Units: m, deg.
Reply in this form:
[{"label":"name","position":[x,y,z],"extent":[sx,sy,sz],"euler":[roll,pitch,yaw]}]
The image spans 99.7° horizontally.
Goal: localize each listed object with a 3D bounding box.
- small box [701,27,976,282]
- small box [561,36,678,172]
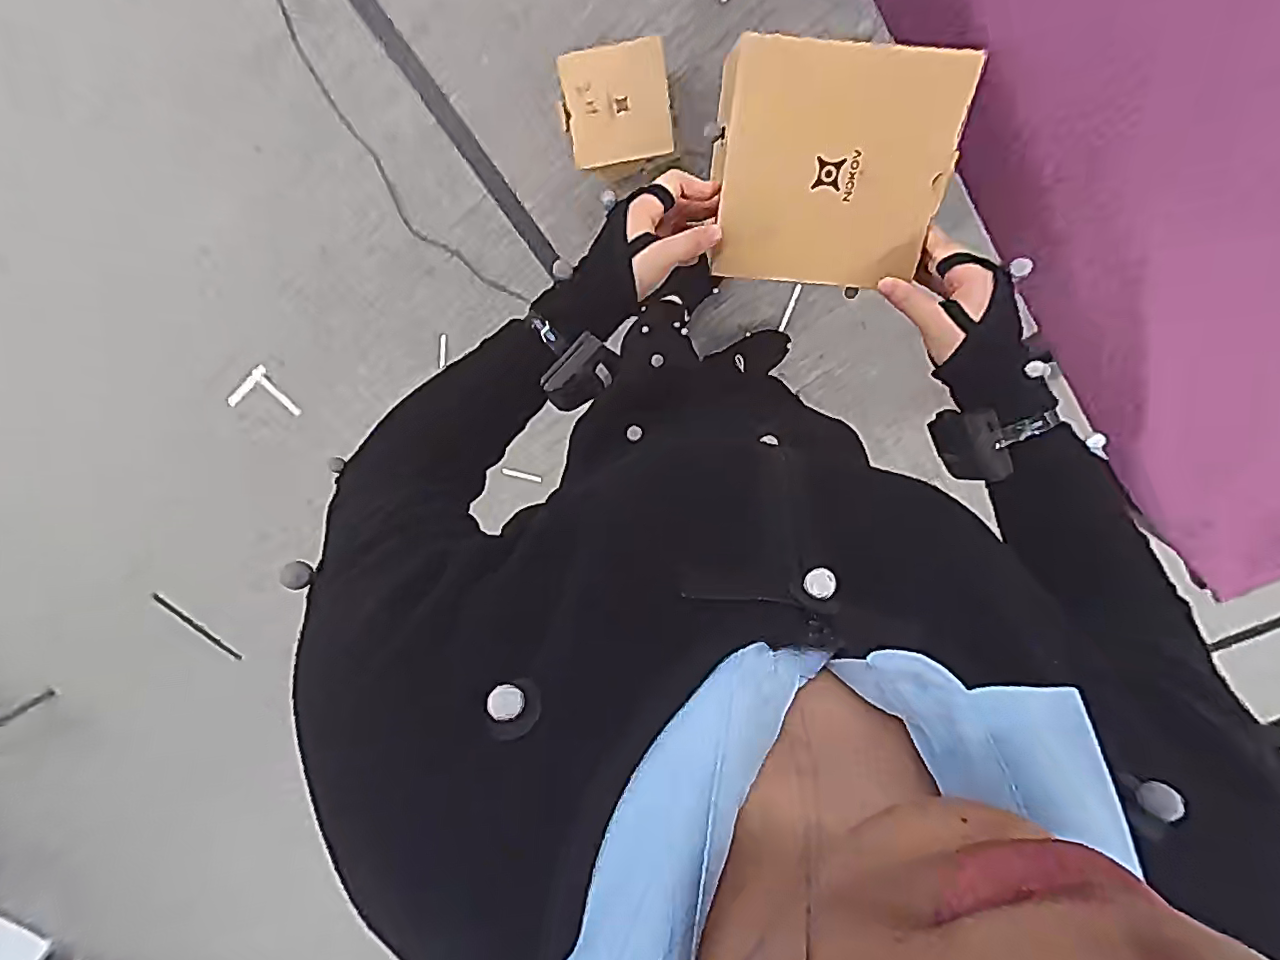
[{"label":"small box","position":[0.151,-0.285,0.492],"extent":[0.179,0.176,0.168],"euler":[3,121,0]},{"label":"small box","position":[-0.028,-0.661,0.970],"extent":[0.179,0.176,0.168],"euler":[-6,117,8]}]
